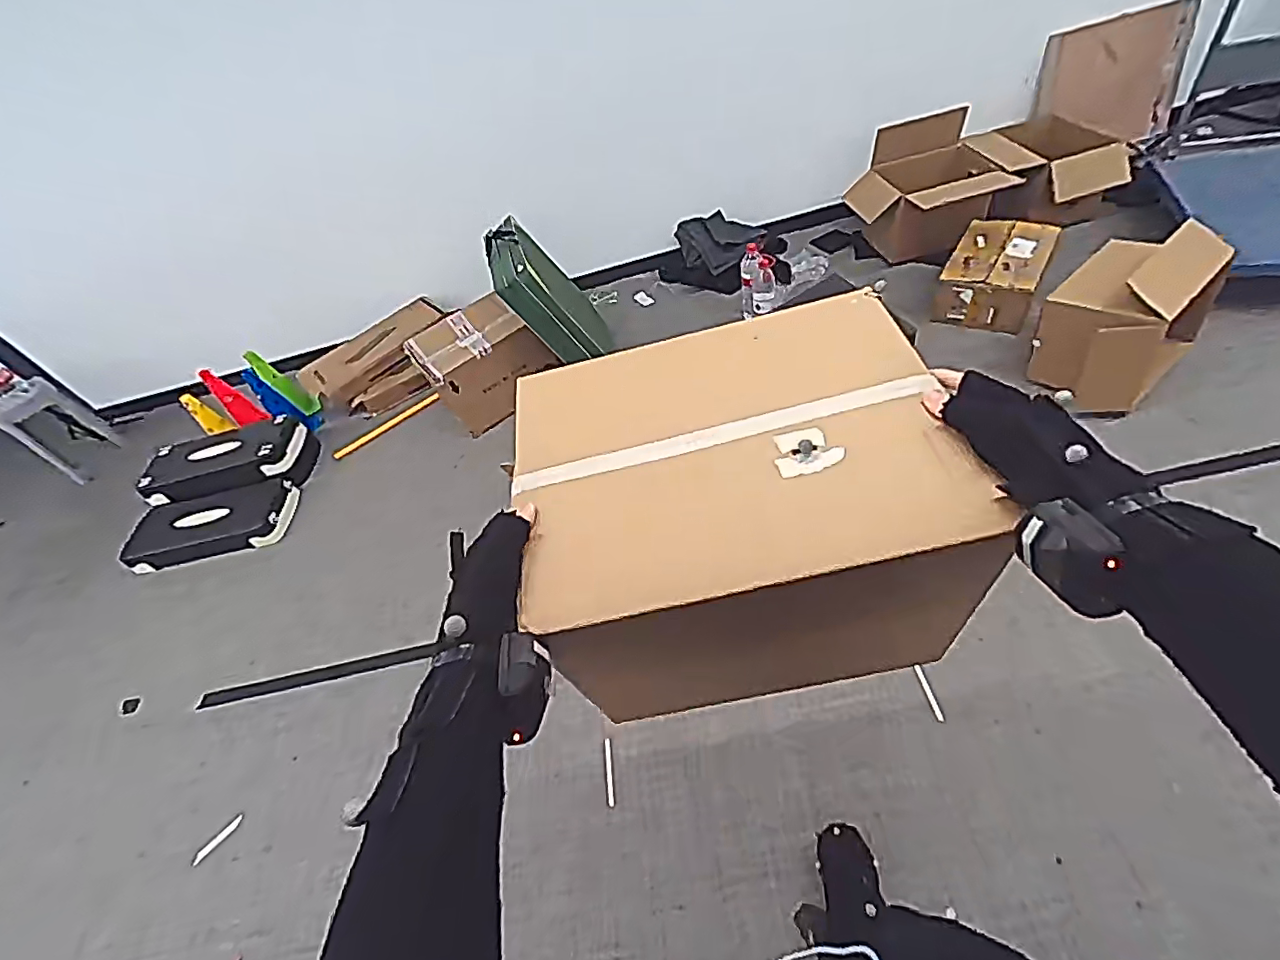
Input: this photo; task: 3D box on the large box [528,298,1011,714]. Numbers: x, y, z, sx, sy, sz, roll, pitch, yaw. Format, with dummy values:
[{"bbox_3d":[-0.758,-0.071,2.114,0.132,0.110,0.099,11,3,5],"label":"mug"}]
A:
[{"bbox_3d":[0.110,0.046,0.645,0.408,0.320,0.320,-13,53,4],"label":"large box"}]
